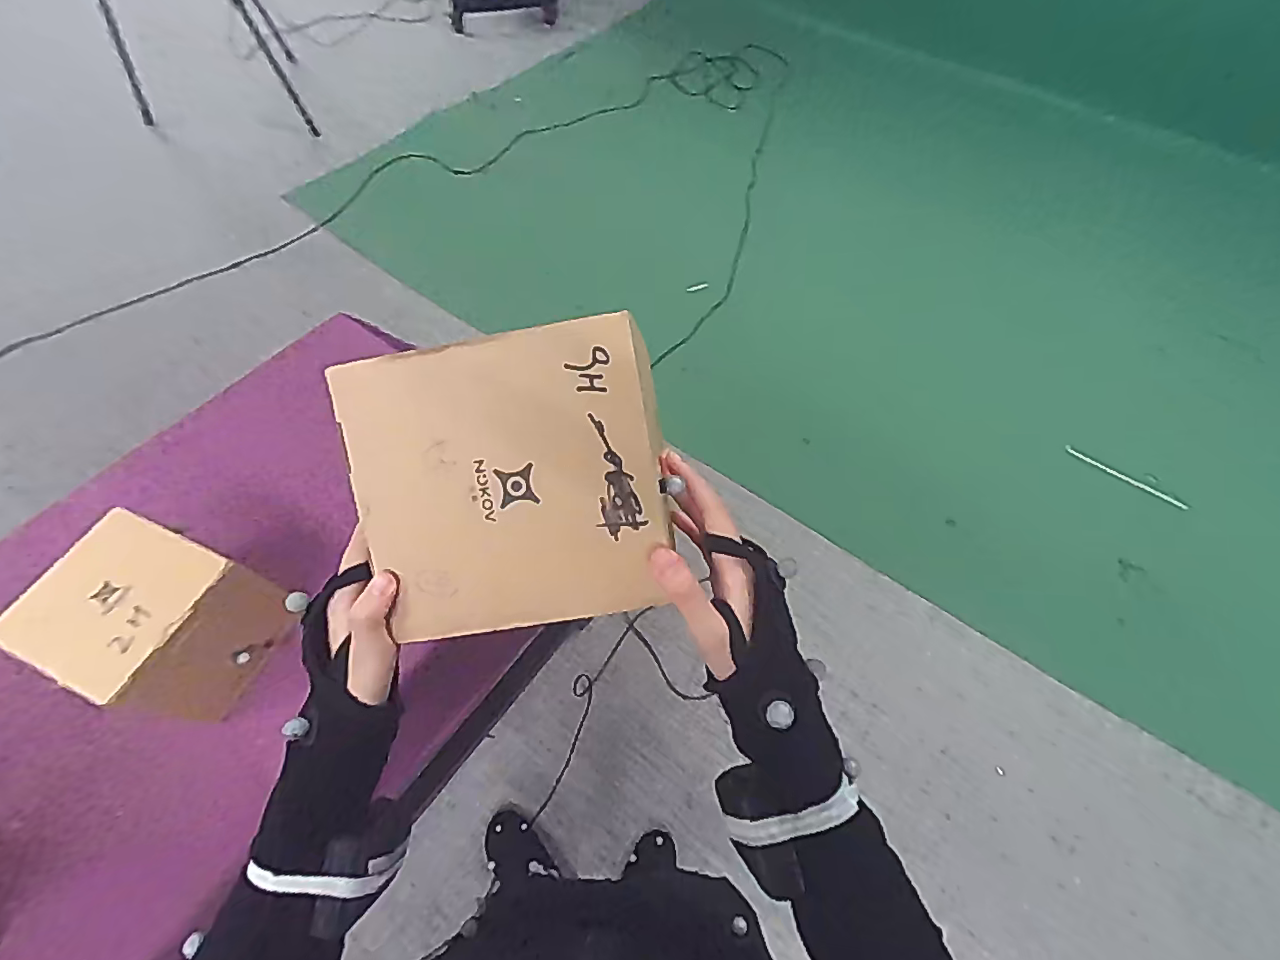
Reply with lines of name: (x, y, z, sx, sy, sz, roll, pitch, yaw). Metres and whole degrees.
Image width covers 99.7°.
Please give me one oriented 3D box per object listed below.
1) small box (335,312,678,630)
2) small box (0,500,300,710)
small box: (-0.070, -0.010, 0.383, 0.179, 0.176, 0.168, -7, 97, 6)
small box: (-0.568, 0.157, 0.648, 0.179, 0.176, 0.168, 22, 62, 11)
